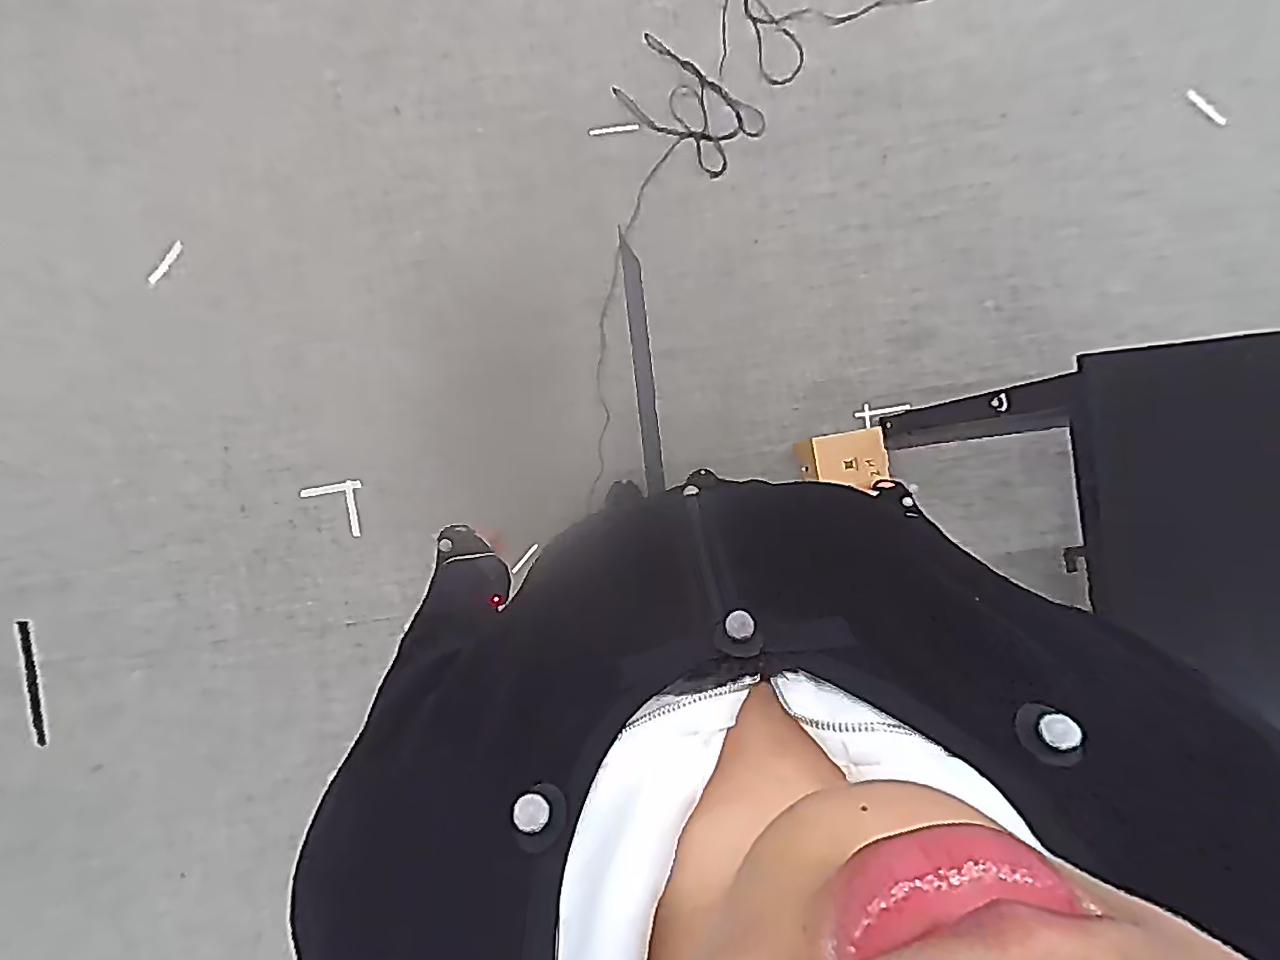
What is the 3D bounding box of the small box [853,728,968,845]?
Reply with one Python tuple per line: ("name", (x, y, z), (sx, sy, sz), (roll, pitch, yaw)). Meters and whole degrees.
("small box", (0.701, 0.792, 1.421), (0.179, 0.176, 0.168), (36, 91, 1))
